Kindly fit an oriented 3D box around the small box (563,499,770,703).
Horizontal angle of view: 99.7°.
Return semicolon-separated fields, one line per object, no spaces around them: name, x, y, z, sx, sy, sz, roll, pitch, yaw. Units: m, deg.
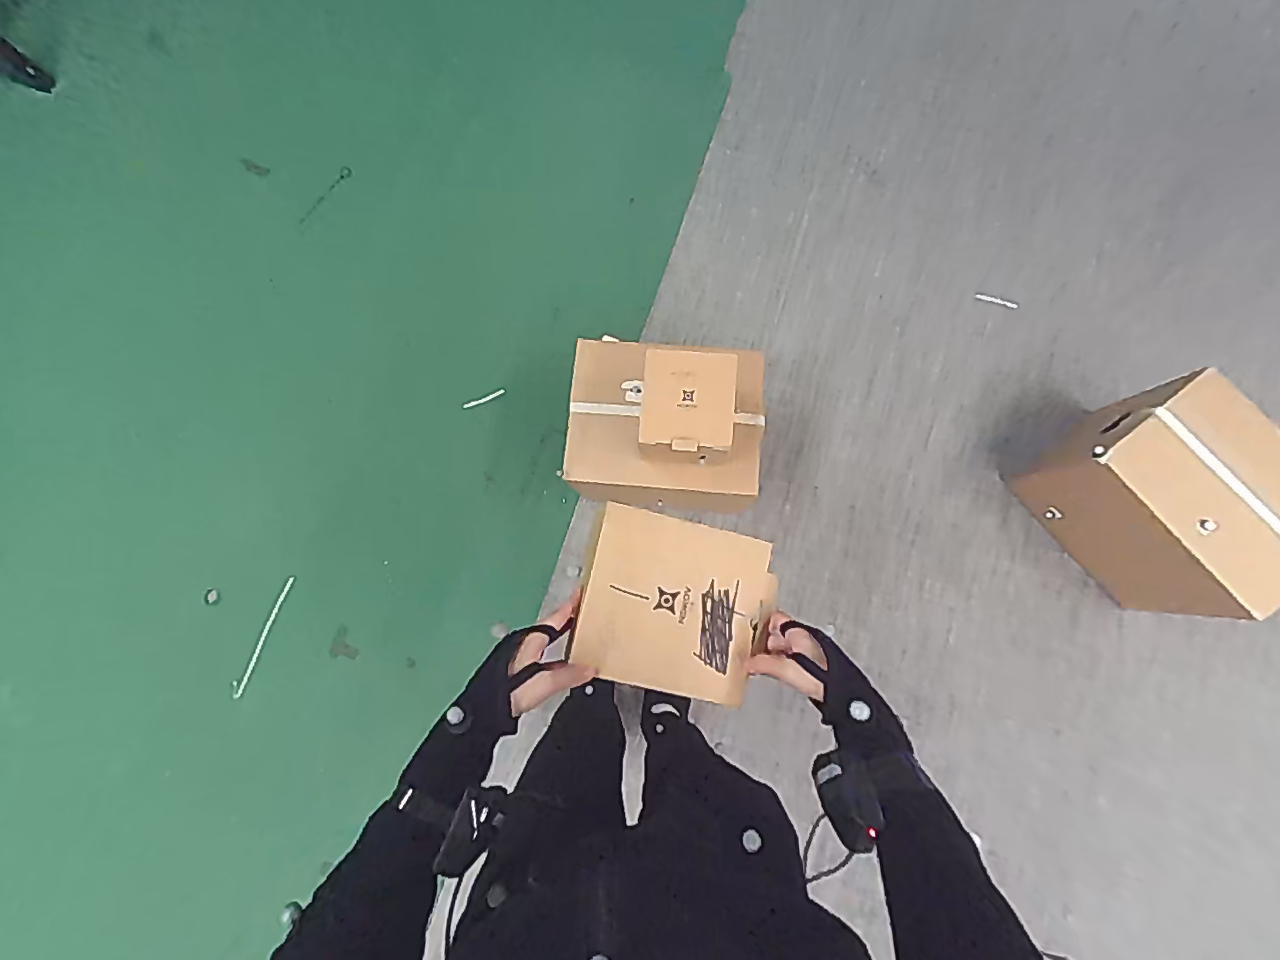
small box;0.019;0.128;0.601;0.179;0.176;0.168;15;79;-6

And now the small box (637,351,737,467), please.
small box;0.088;-0.126;1.026;0.168;0.176;0.179;5;80;4

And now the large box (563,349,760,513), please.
large box;0.060;-0.098;1.272;0.408;0.320;0.320;4;79;5
